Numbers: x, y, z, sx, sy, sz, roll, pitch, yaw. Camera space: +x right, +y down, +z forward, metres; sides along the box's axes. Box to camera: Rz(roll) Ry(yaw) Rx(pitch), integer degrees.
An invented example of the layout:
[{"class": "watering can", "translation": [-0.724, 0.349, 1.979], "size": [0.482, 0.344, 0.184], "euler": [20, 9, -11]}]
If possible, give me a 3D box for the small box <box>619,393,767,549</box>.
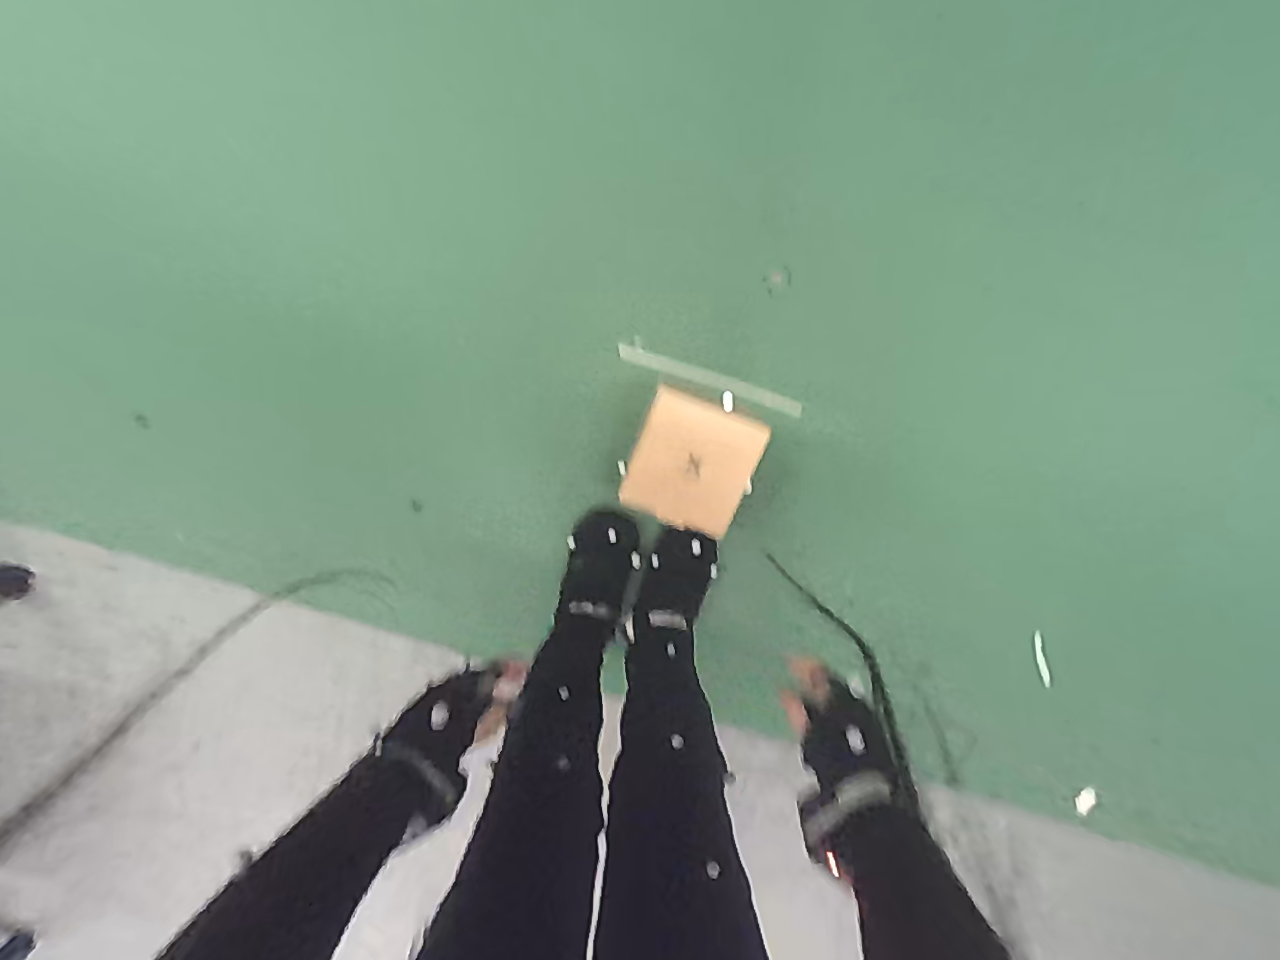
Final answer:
[{"class": "small box", "translation": [0.075, -0.024, 0.848], "size": [0.168, 0.176, 0.179], "euler": [20, 107, -4]}]
